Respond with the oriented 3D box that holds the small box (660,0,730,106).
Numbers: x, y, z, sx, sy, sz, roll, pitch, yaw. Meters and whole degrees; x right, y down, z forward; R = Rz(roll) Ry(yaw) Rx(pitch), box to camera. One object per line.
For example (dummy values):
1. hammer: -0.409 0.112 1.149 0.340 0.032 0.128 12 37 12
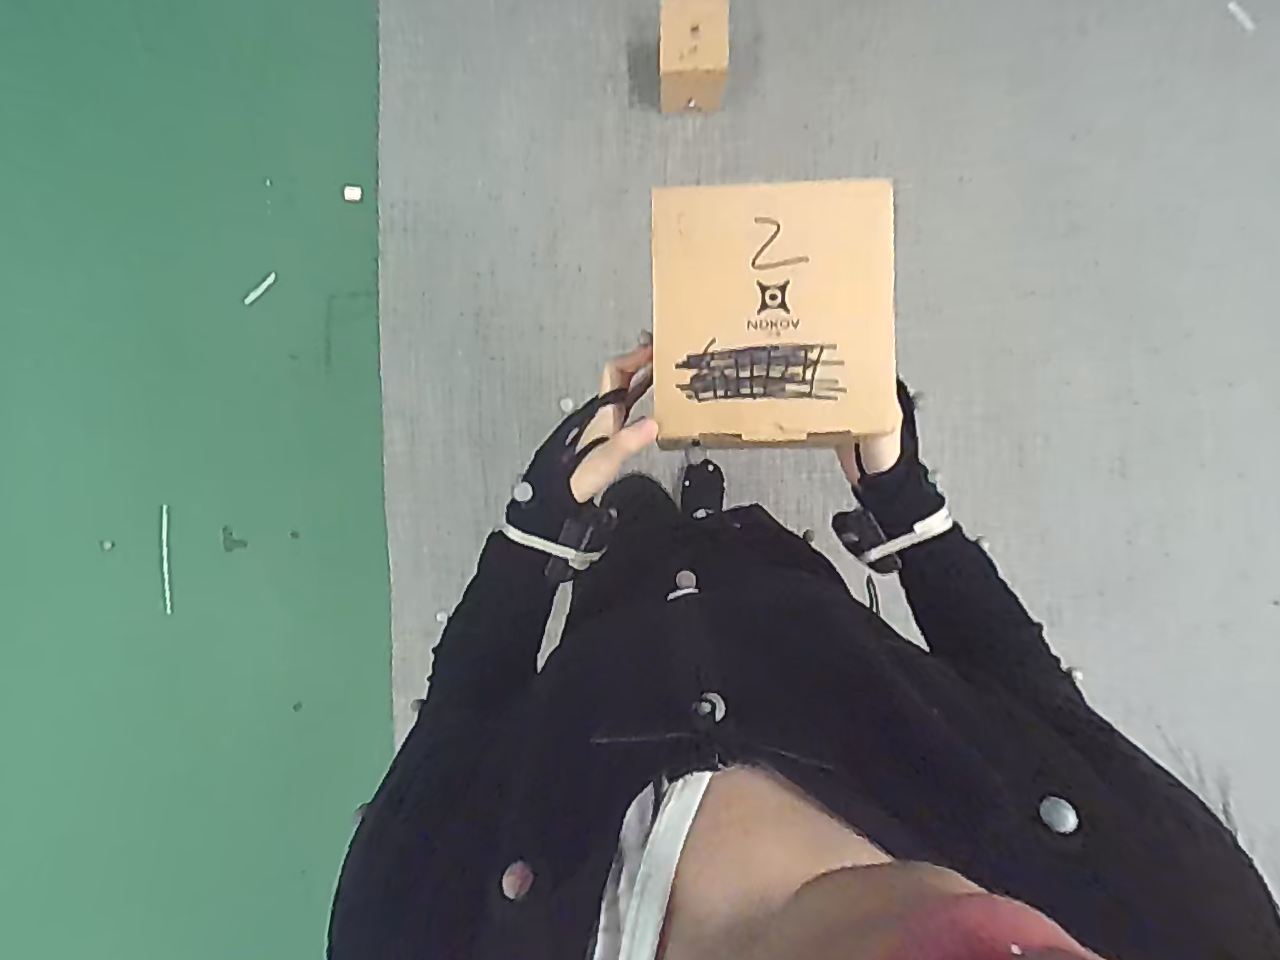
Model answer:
1. small box: 0.134 -1.081 1.358 0.168 0.176 0.179 0 93 3
